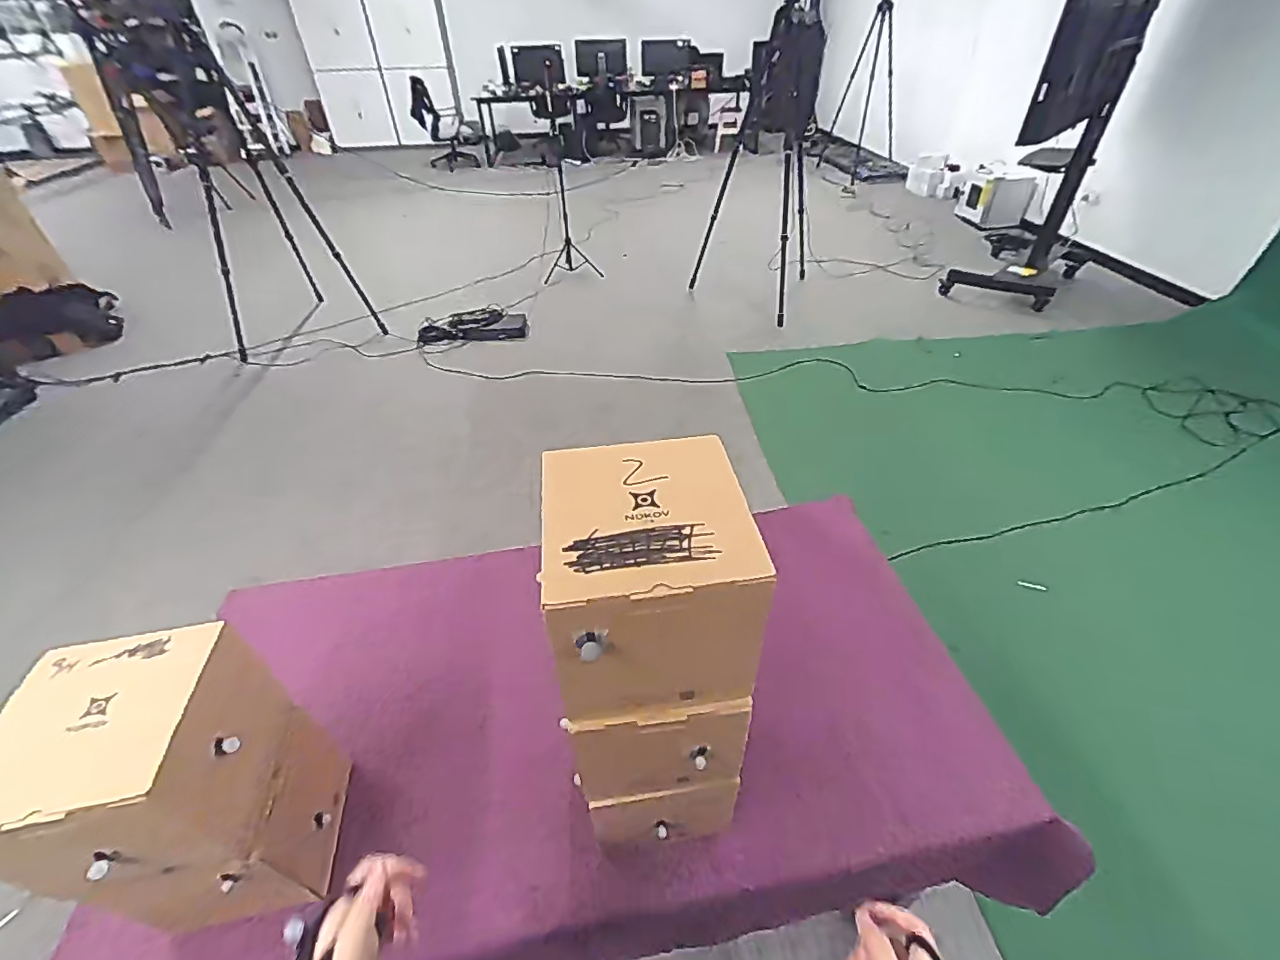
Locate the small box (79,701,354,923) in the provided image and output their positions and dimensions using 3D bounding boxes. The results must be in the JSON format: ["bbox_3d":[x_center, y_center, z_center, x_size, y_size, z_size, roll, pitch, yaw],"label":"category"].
[{"bbox_3d":[-0.480,0.399,0.651,0.179,0.176,0.168,-8,41,-8],"label":"small box"}]

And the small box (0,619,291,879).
[{"bbox_3d":[-0.490,0.273,0.546,0.168,0.176,0.179,-8,41,-8],"label":"small box"}]

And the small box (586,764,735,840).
[{"bbox_3d":[0.018,0.336,0.694,0.168,0.176,0.179,-6,41,-5],"label":"small box"}]

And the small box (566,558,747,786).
[{"bbox_3d":[0.012,0.211,0.589,0.168,0.176,0.179,-5,40,-3],"label":"small box"}]
